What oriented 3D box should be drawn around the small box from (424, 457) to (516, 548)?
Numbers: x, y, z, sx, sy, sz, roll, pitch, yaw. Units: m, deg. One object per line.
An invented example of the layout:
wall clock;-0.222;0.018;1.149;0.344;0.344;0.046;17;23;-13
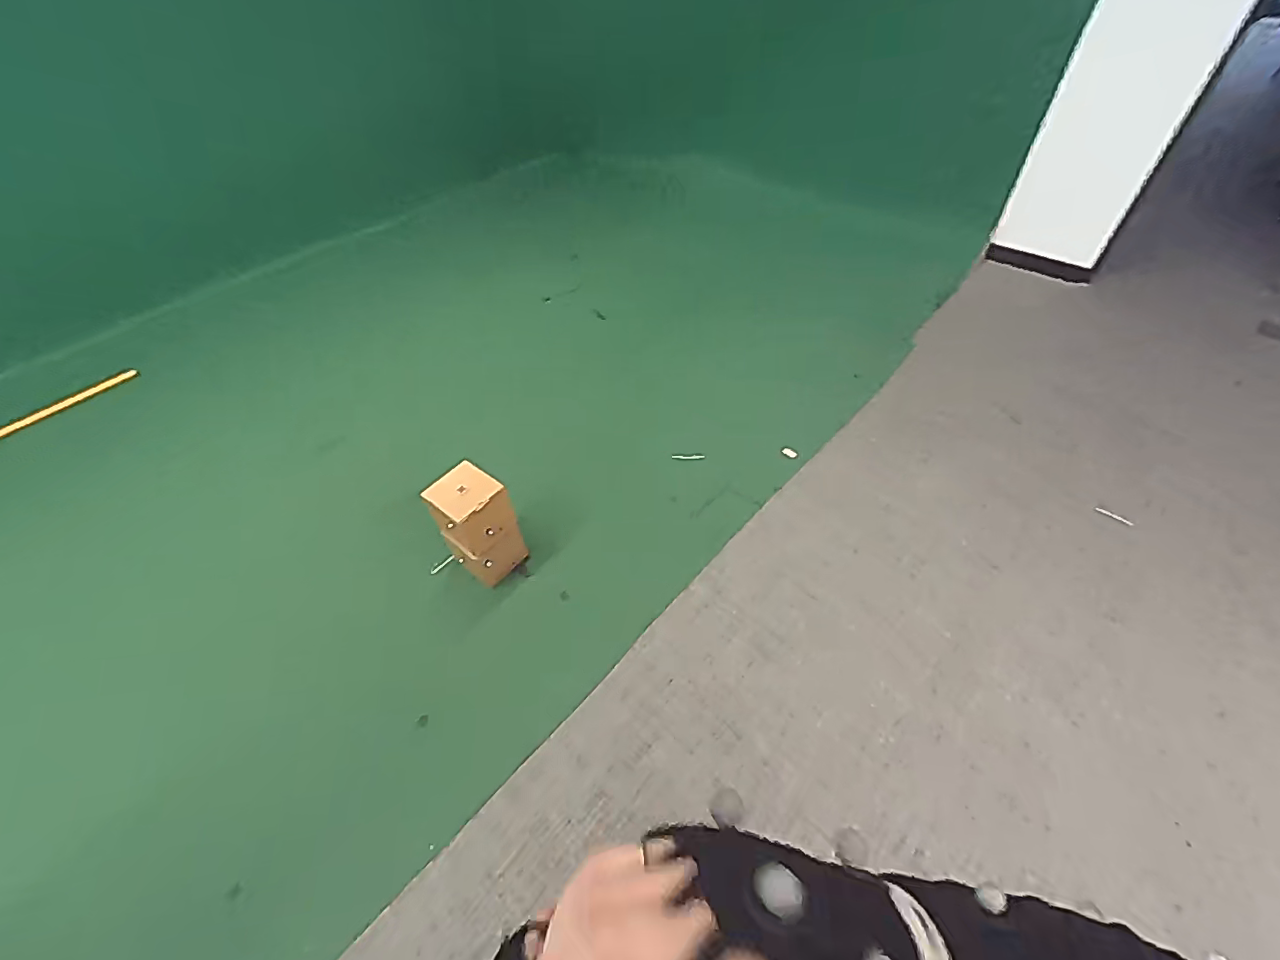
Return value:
small box;-0.492;0.069;1.584;0.179;0.176;0.168;31;57;26
